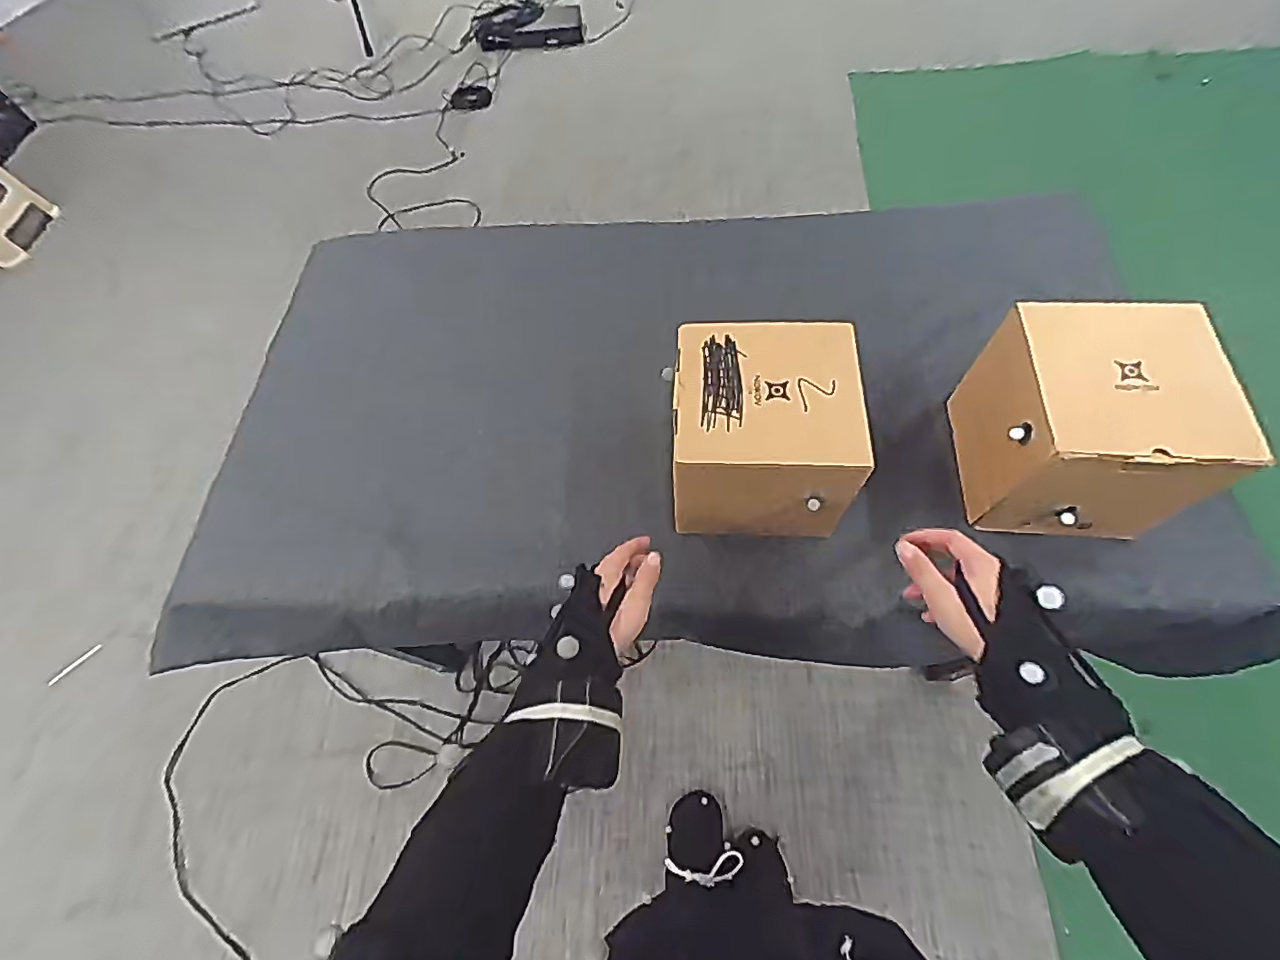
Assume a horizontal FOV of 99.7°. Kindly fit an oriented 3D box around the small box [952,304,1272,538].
[{"bbox_3d":[0.449,-0.056,0.557,0.168,0.176,0.179,3,64,7],"label":"small box"}]
